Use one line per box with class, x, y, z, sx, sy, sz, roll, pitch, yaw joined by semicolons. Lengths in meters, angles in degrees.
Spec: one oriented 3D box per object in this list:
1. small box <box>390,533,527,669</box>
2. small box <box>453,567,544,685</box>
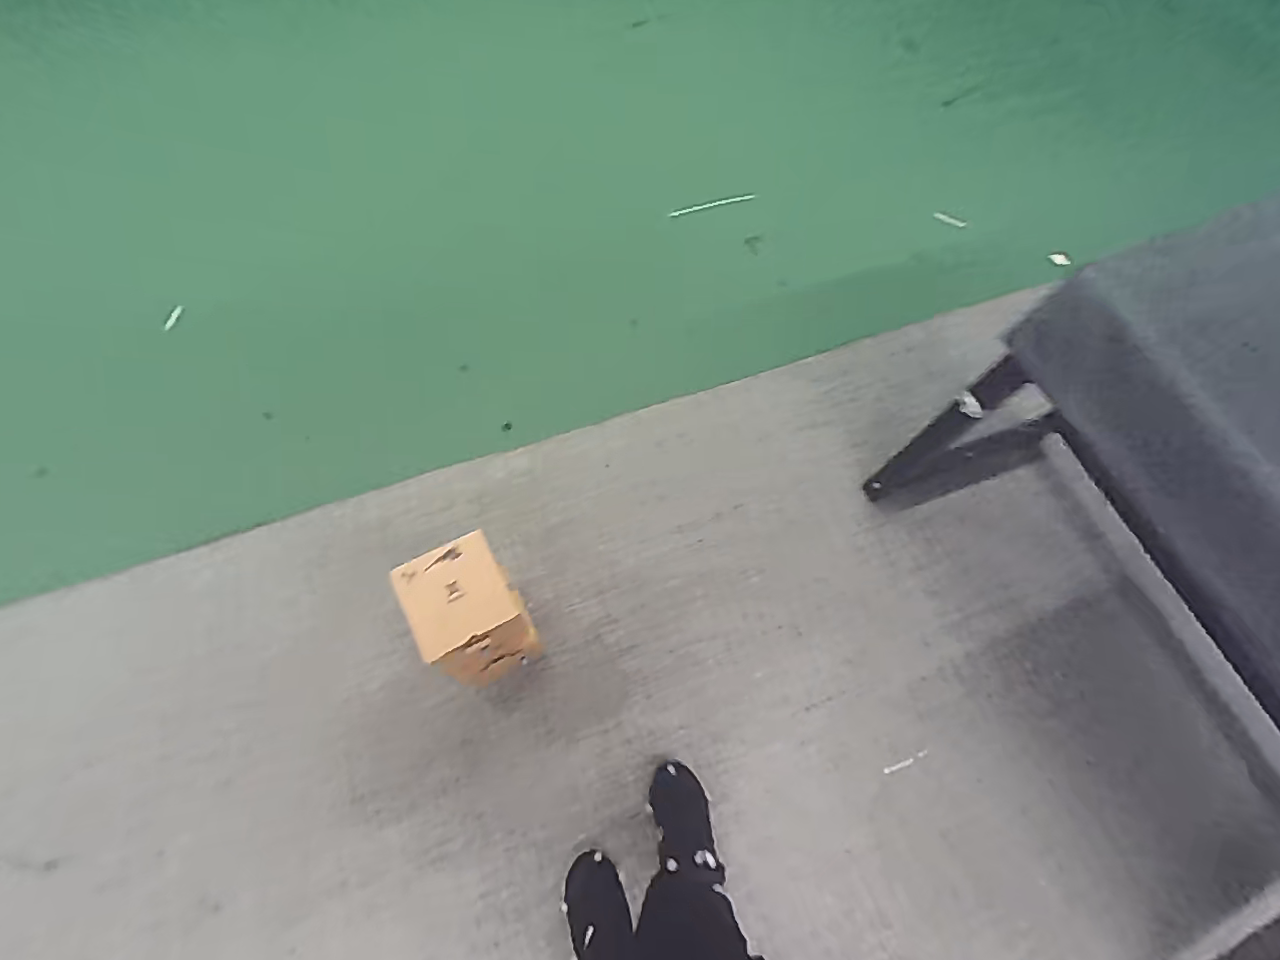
small box;-0.317;0.227;0.979;0.168;0.176;0.179;-26;71;-16
small box;-0.310;0.310;1.122;0.168;0.176;0.179;-25;69;-16
